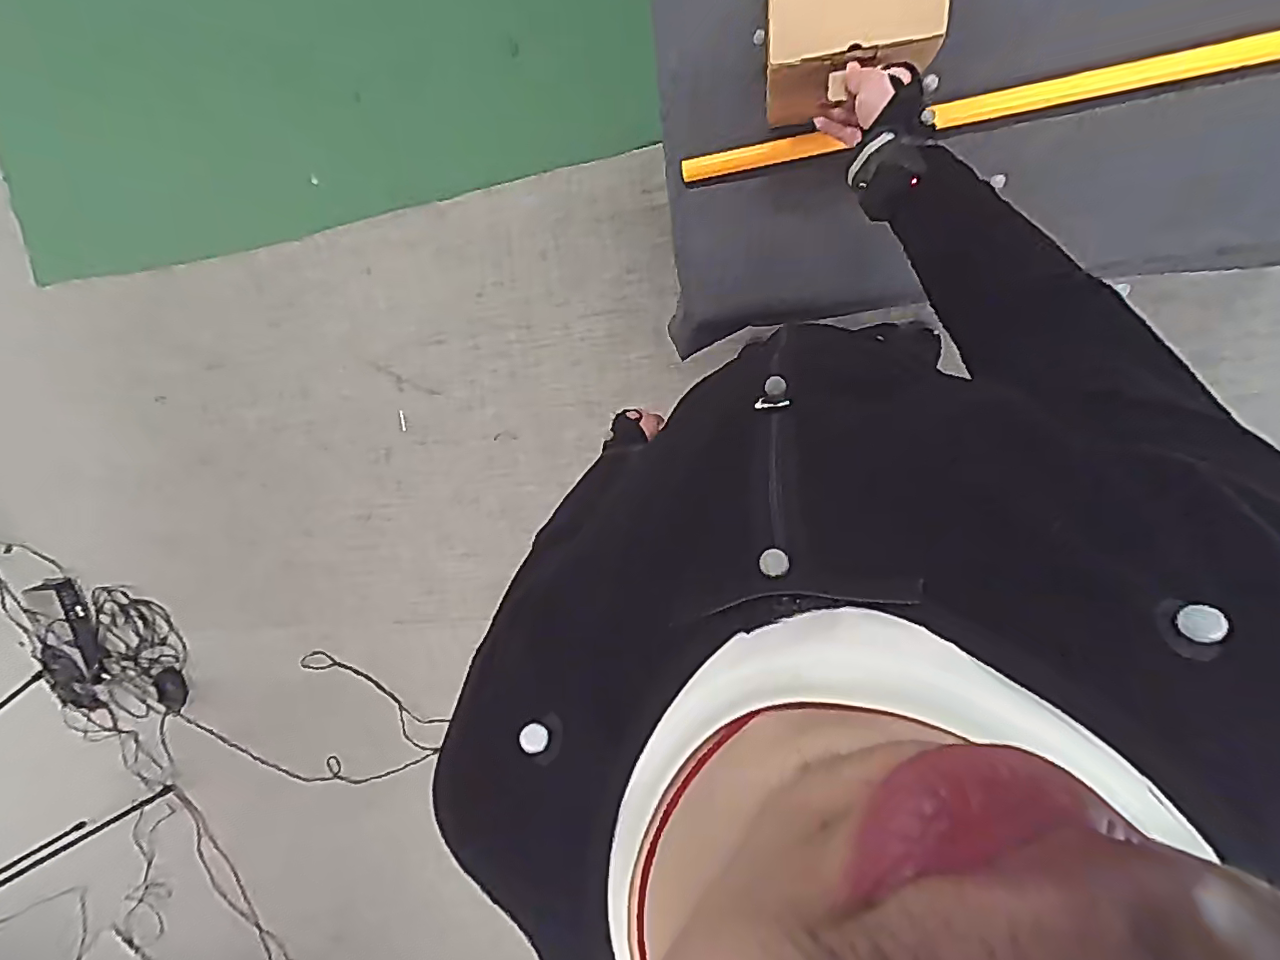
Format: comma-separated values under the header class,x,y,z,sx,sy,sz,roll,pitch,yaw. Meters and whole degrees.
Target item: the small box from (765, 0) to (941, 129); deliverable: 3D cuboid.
class,x,y,z,sx,sy,sz,roll,pitch,yaw
small box,0.226,-0.520,0.601,0.168,0.176,0.179,-2,103,15
